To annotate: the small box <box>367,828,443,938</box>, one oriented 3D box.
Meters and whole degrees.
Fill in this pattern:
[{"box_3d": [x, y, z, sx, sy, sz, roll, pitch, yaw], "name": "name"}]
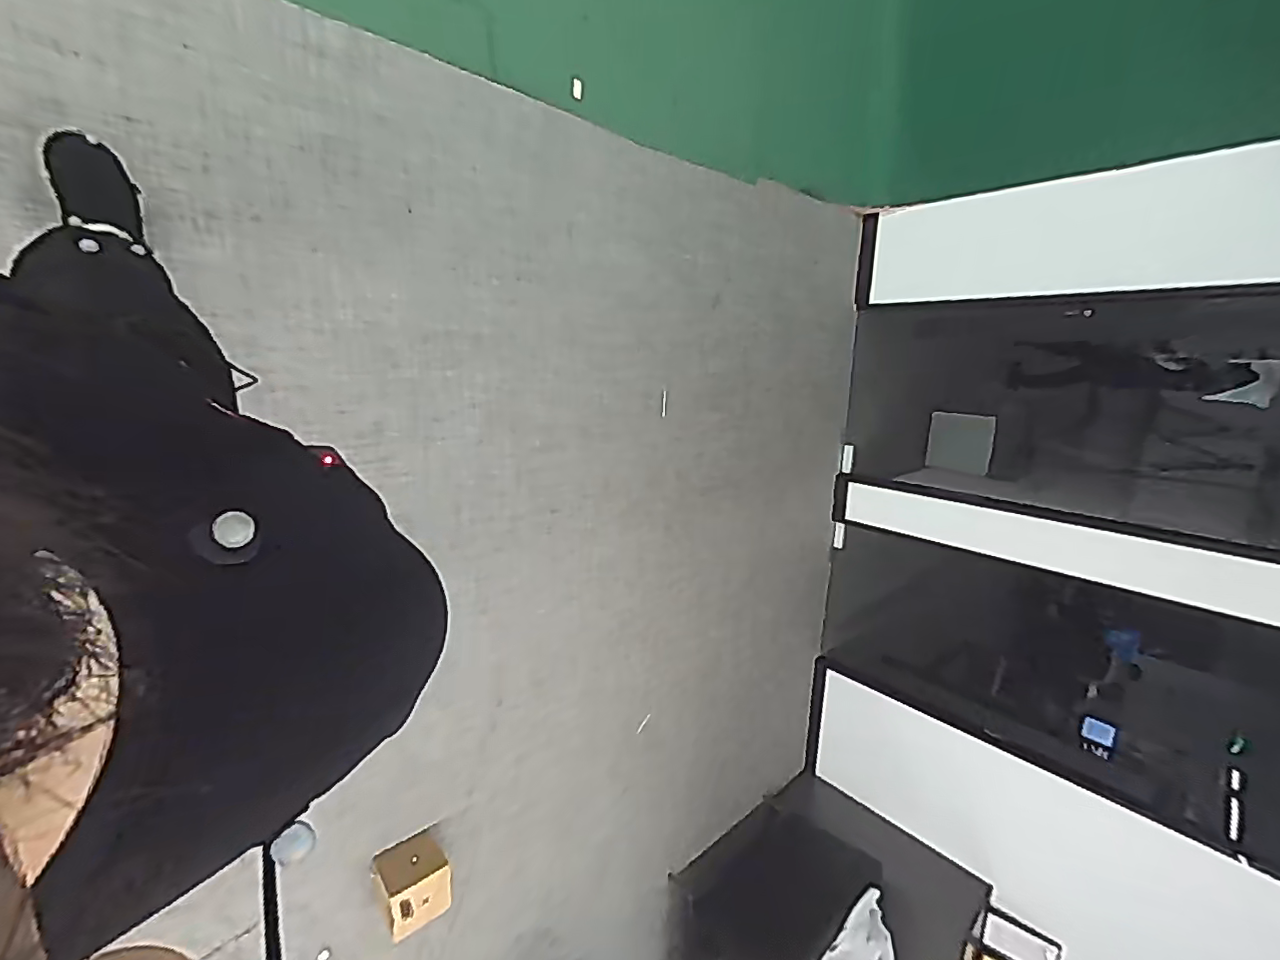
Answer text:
[{"box_3d": [-0.726, 1.228, 1.662, 0.179, 0.176, 0.168, -8, 107, -43], "name": "small box"}]
